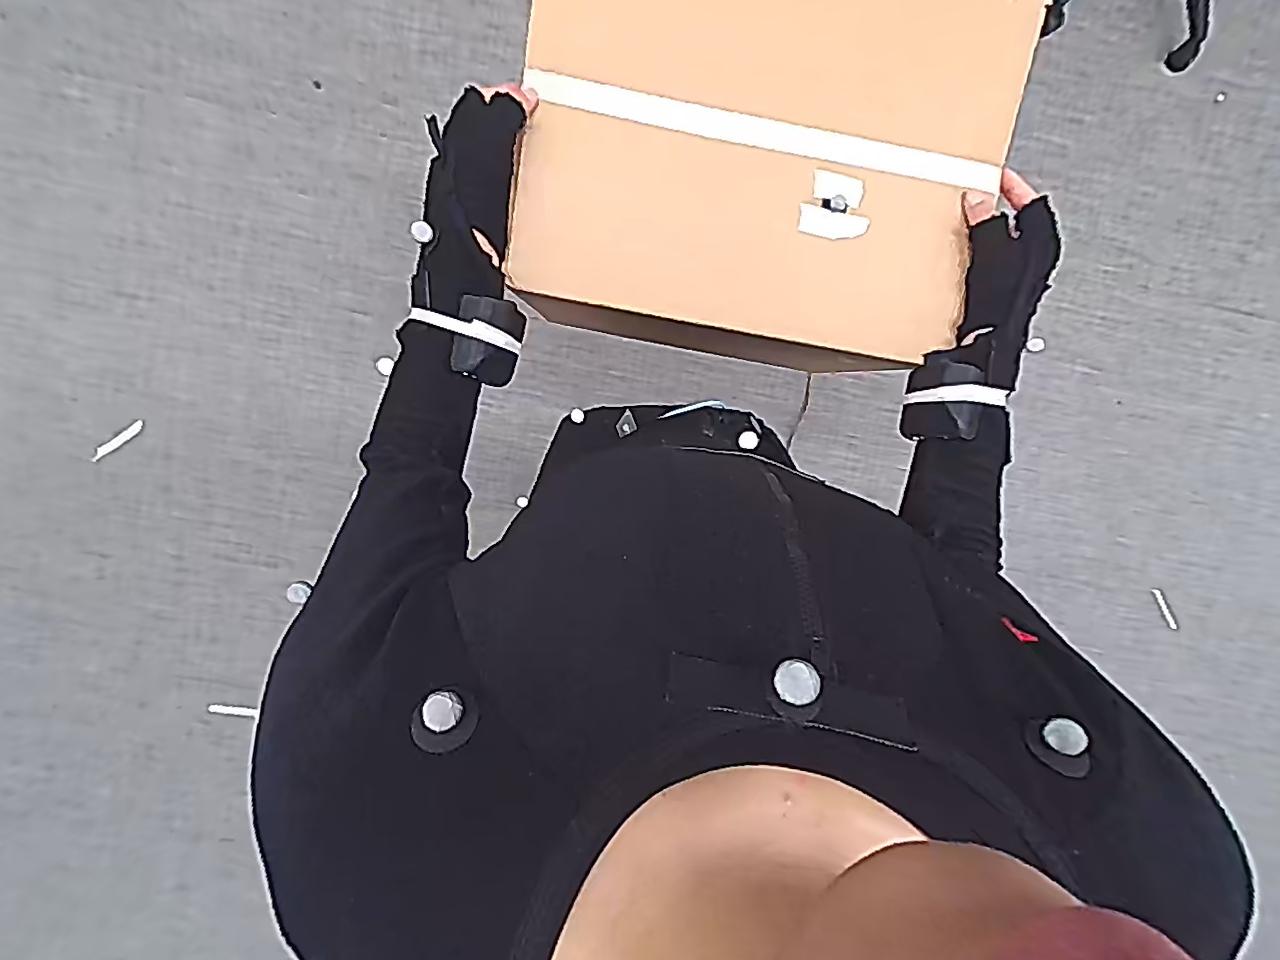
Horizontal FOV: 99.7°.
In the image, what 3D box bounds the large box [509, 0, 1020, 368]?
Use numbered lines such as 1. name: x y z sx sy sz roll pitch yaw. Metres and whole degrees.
1. large box: 0.093 -0.315 0.611 0.408 0.320 0.320 10 101 -5
